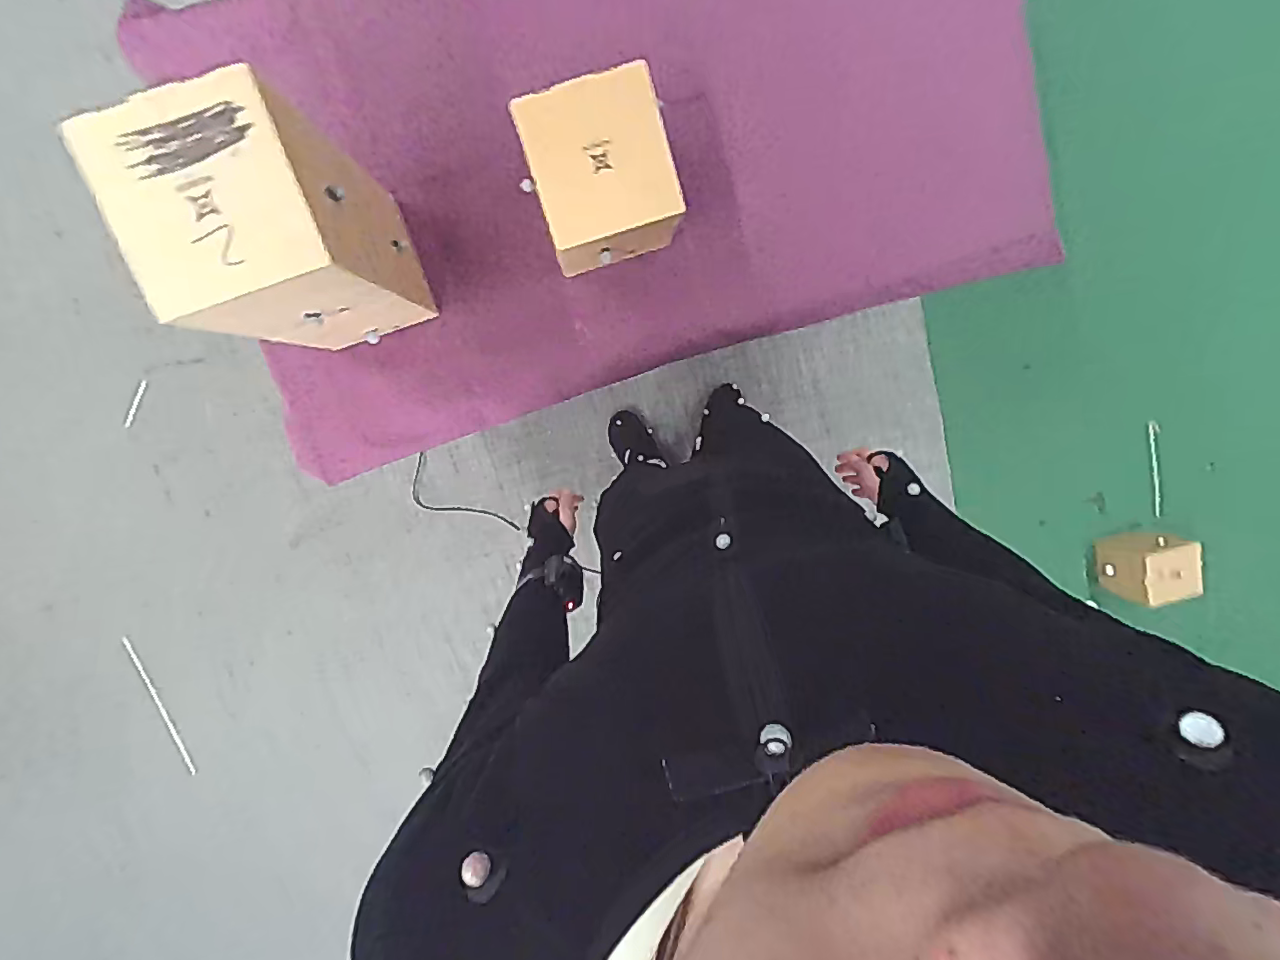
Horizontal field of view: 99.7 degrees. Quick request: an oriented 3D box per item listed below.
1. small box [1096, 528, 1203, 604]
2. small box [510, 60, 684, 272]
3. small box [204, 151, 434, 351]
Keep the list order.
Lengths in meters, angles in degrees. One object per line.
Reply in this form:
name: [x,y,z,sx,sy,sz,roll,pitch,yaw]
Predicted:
small box: [1.576,0.259,1.677,0.179,0.176,0.168,-15,100,-2]
small box: [-0.052,-0.391,0.714,0.168,0.176,0.179,-19,99,-1]
small box: [-0.395,-0.280,0.702,0.168,0.176,0.179,-19,101,-1]
